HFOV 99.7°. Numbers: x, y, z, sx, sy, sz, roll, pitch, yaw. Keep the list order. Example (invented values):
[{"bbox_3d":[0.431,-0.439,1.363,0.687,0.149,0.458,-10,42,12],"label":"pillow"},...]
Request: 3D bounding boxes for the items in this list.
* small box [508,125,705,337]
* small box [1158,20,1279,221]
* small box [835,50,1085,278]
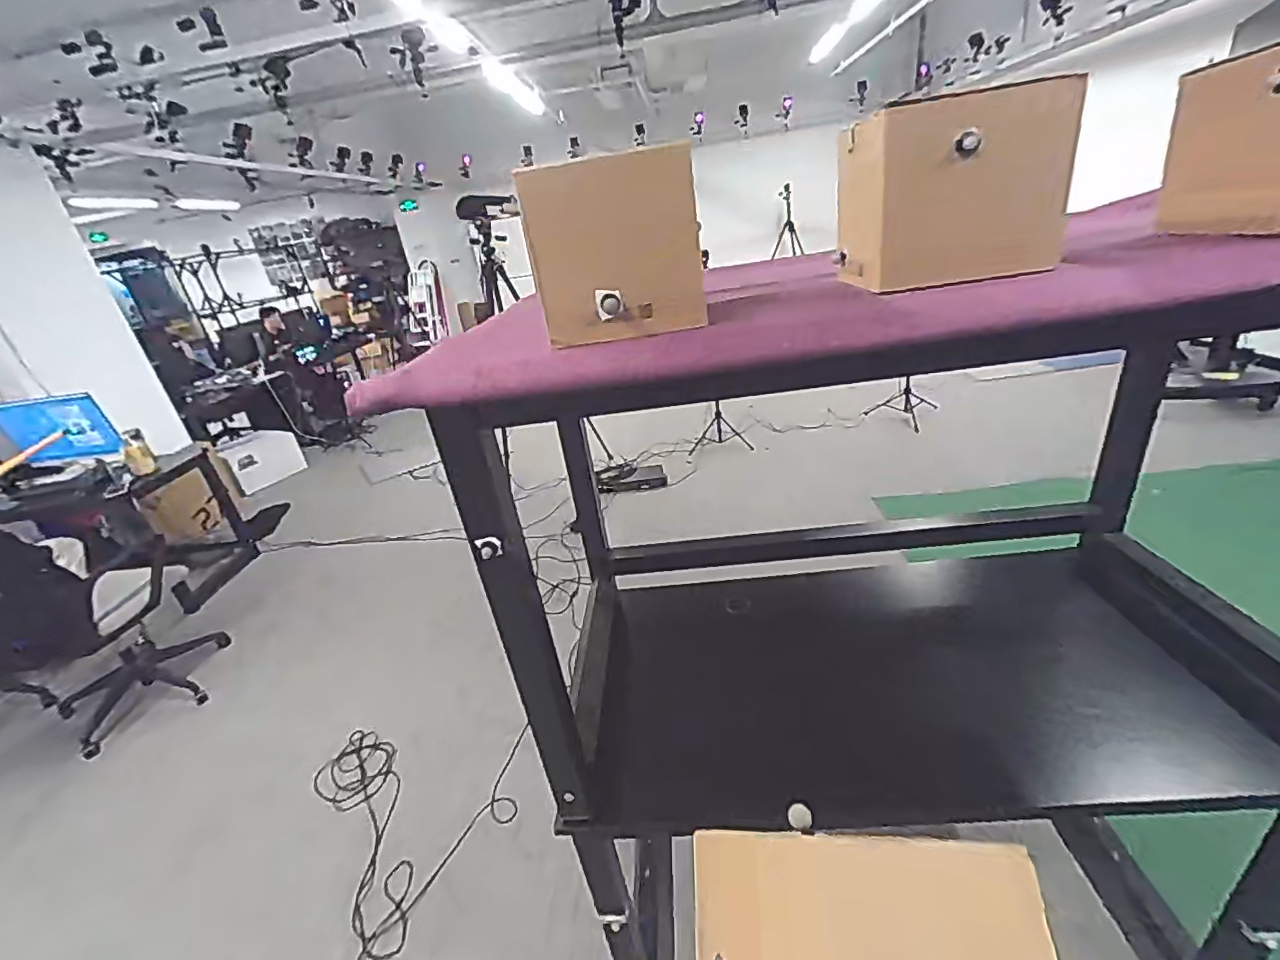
[{"bbox_3d":[-0.027,-0.261,0.585,0.168,0.176,0.179,-9,27,3],"label":"small box"},{"bbox_3d":[0.674,-0.359,0.533,0.168,0.176,0.179,-7,24,9],"label":"small box"},{"bbox_3d":[0.319,-0.319,0.580,0.179,0.176,0.168,-6,25,7],"label":"small box"}]
